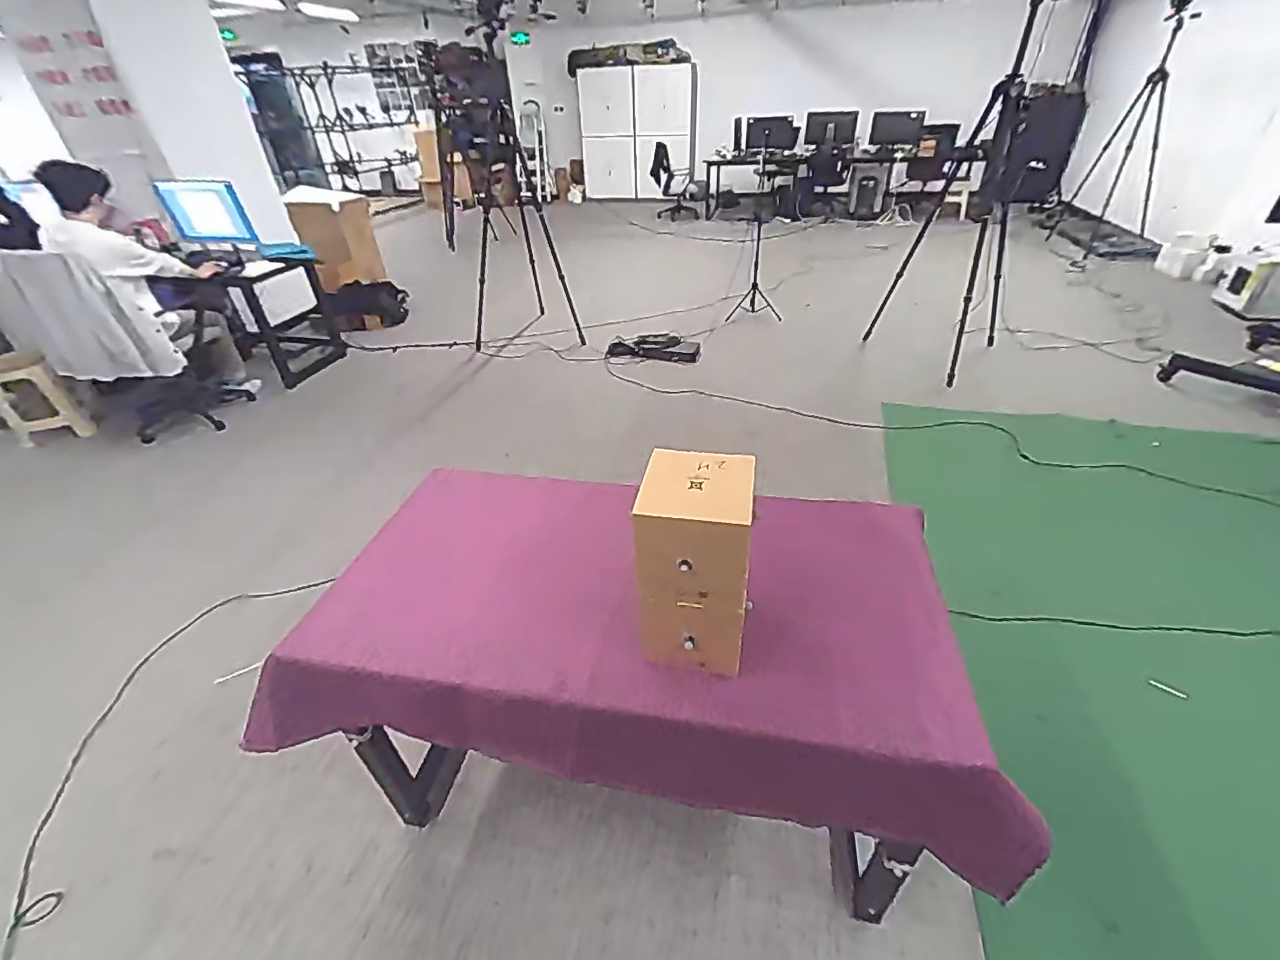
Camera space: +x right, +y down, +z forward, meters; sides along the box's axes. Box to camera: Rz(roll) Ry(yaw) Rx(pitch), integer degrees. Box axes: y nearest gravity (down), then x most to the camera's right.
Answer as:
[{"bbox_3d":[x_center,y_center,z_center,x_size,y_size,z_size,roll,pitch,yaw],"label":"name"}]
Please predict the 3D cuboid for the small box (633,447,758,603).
[{"bbox_3d":[0.092,0.069,0.847,0.168,0.176,0.179,6,36,11],"label":"small box"}]

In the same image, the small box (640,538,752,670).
[{"bbox_3d":[0.102,0.204,0.943,0.168,0.176,0.179,6,37,11],"label":"small box"}]
